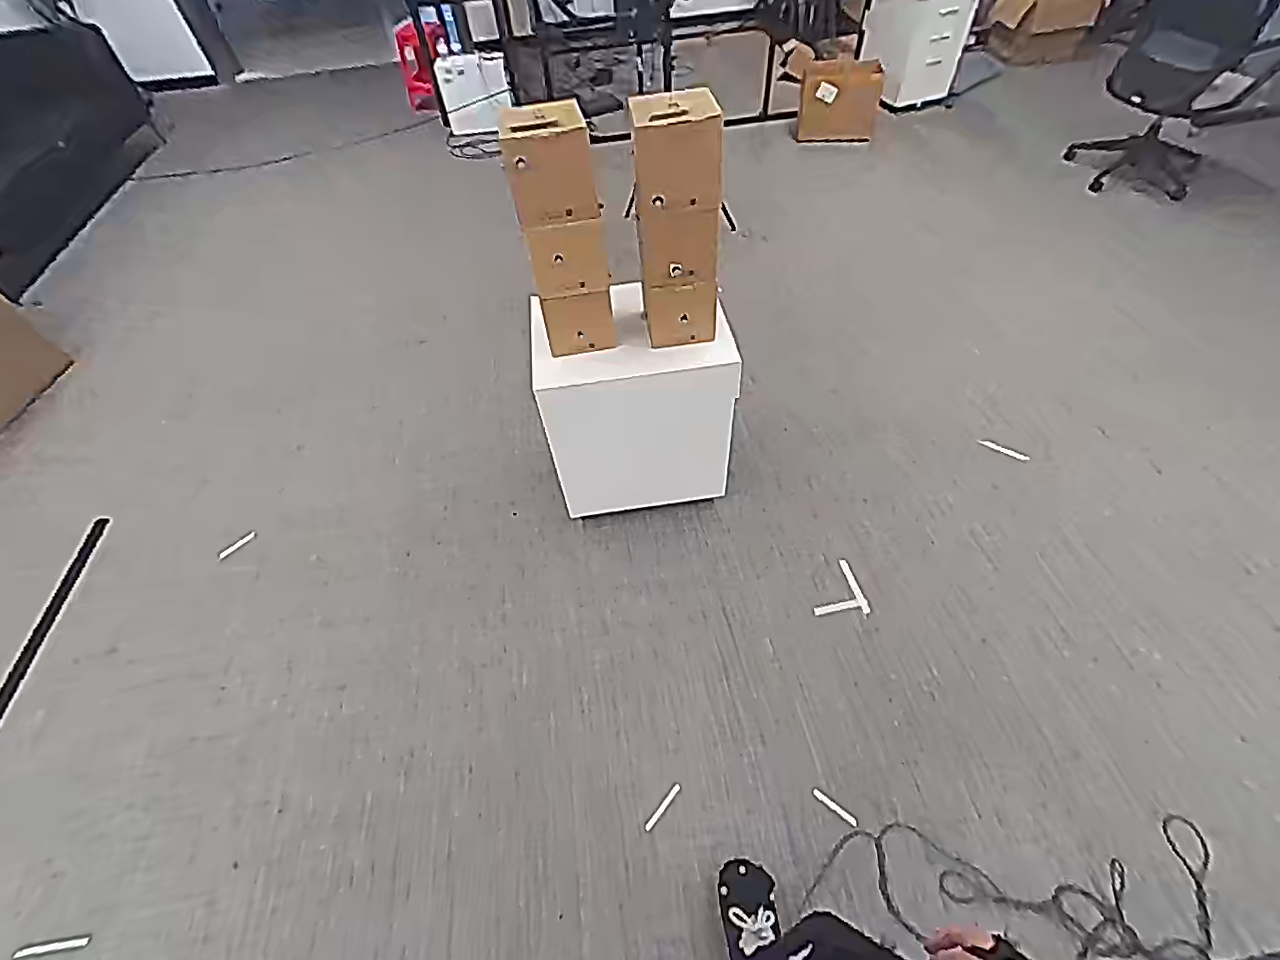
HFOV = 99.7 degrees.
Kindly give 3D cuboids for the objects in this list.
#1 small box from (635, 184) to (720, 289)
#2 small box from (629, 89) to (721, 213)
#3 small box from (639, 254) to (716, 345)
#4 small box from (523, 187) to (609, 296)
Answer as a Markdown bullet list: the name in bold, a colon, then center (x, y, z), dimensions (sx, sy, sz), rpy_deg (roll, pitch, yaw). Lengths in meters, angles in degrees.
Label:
- **small box**: center (0.082, -0.564, 1.235), dimensions (0.168, 0.176, 0.179), rpy_deg (-9, 52, 0)
- **small box**: center (0.072, -0.664, 1.104), dimensions (0.168, 0.176, 0.179), rpy_deg (-7, 50, 1)
- **small box**: center (0.095, -0.457, 1.357), dimensions (0.168, 0.176, 0.179), rpy_deg (-8, 53, 0)
- **small box**: center (-0.166, -0.536, 1.232), dimensions (0.168, 0.176, 0.179), rpy_deg (-9, 51, -3)
